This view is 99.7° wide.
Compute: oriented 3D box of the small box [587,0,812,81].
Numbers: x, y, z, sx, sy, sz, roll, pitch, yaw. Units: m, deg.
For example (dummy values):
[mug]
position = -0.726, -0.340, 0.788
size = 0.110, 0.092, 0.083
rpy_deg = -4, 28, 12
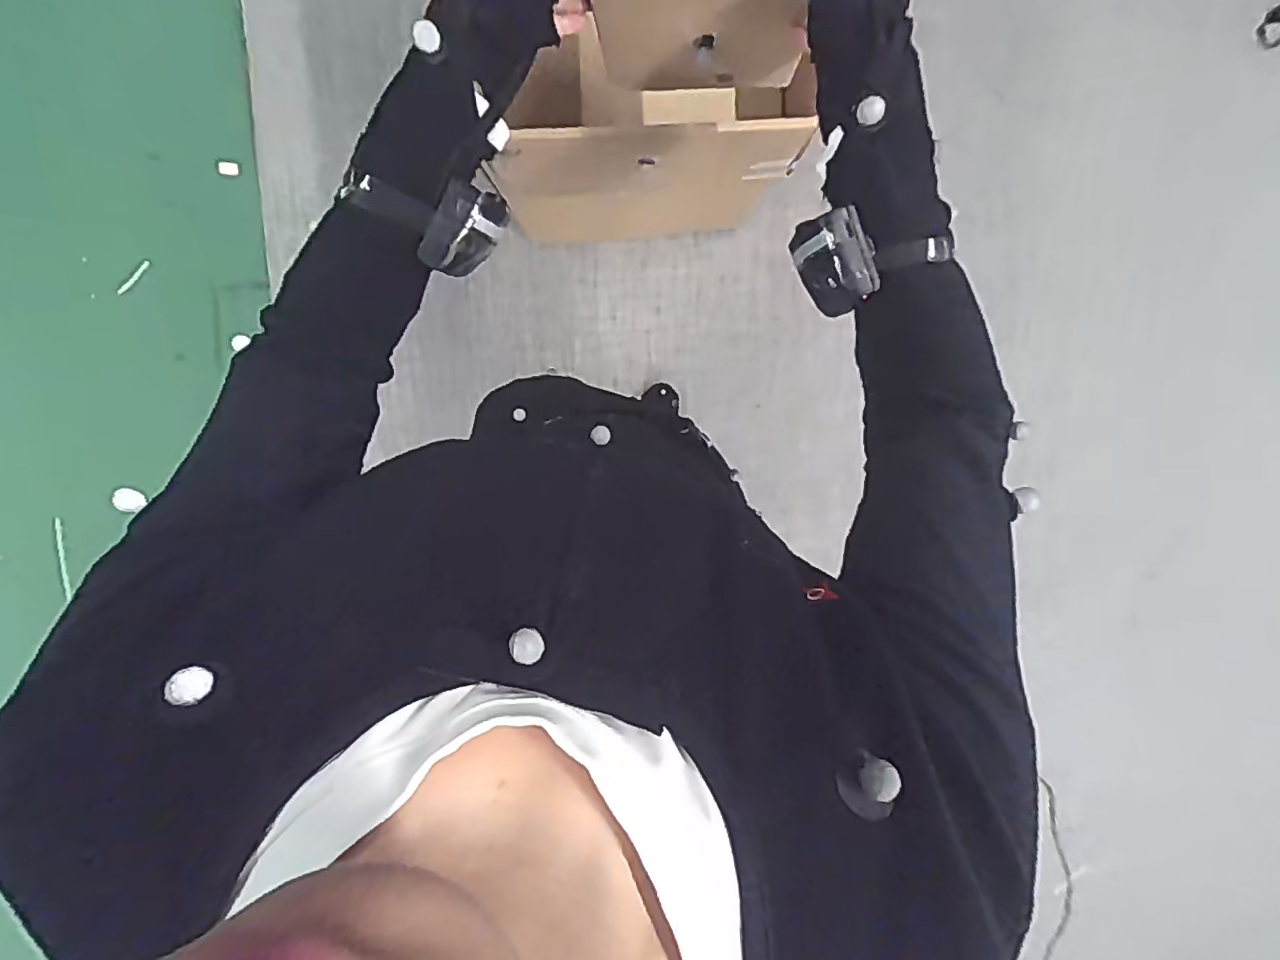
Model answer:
[small box]
position = 0.048, -0.429, 0.403
size = 0.168, 0.176, 0.179
rpy_deg = 0, 104, 4
